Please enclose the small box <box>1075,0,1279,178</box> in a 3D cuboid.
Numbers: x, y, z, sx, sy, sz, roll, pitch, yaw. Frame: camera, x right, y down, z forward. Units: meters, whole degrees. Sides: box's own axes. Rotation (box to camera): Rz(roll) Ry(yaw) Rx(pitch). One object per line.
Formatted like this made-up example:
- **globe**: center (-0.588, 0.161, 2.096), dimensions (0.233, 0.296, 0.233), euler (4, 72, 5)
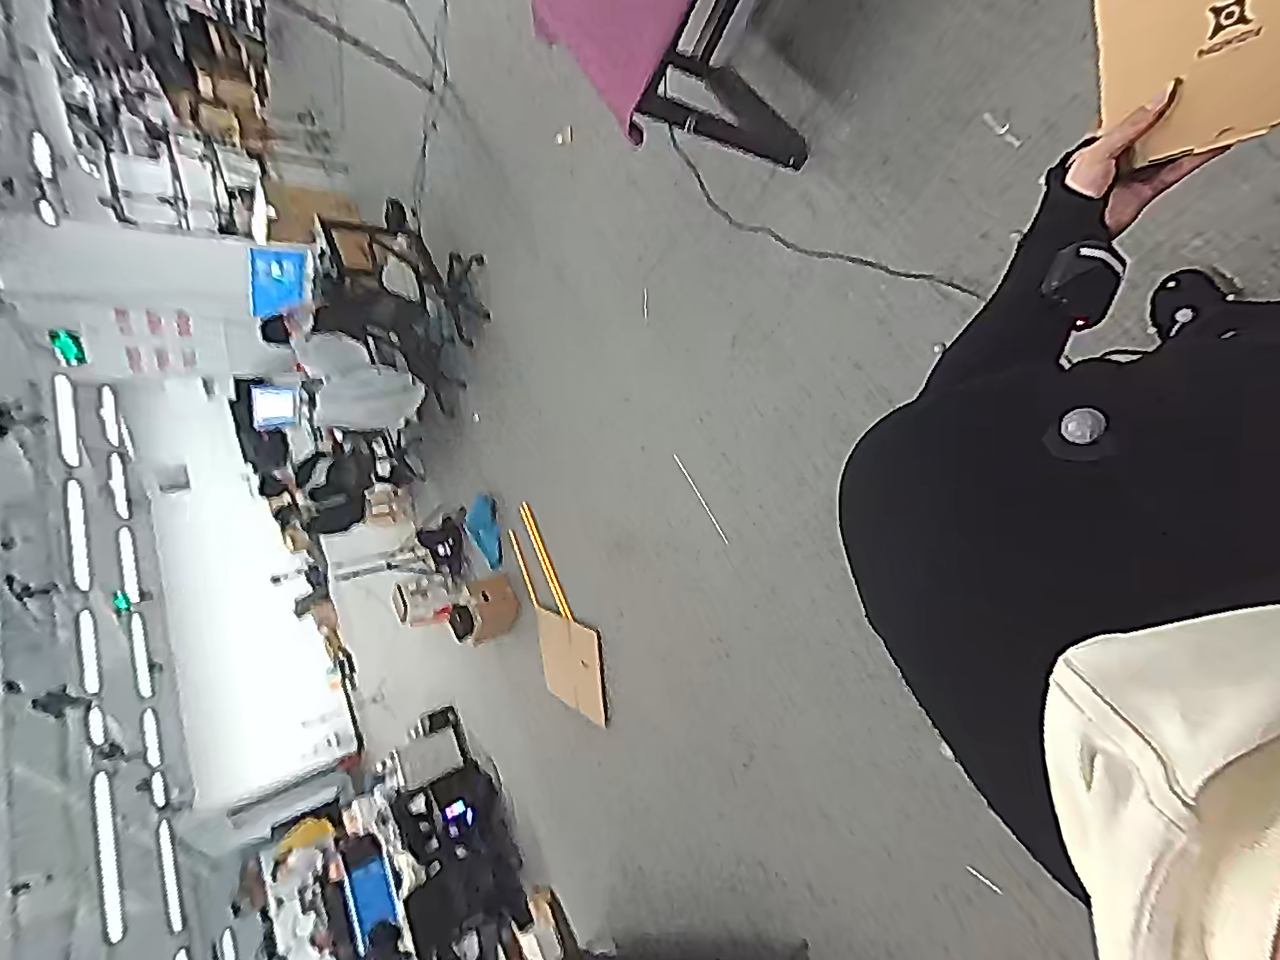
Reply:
- **small box**: center (0.511, -0.398, 0.469), dimensions (0.168, 0.176, 0.179), euler (7, 125, 56)
